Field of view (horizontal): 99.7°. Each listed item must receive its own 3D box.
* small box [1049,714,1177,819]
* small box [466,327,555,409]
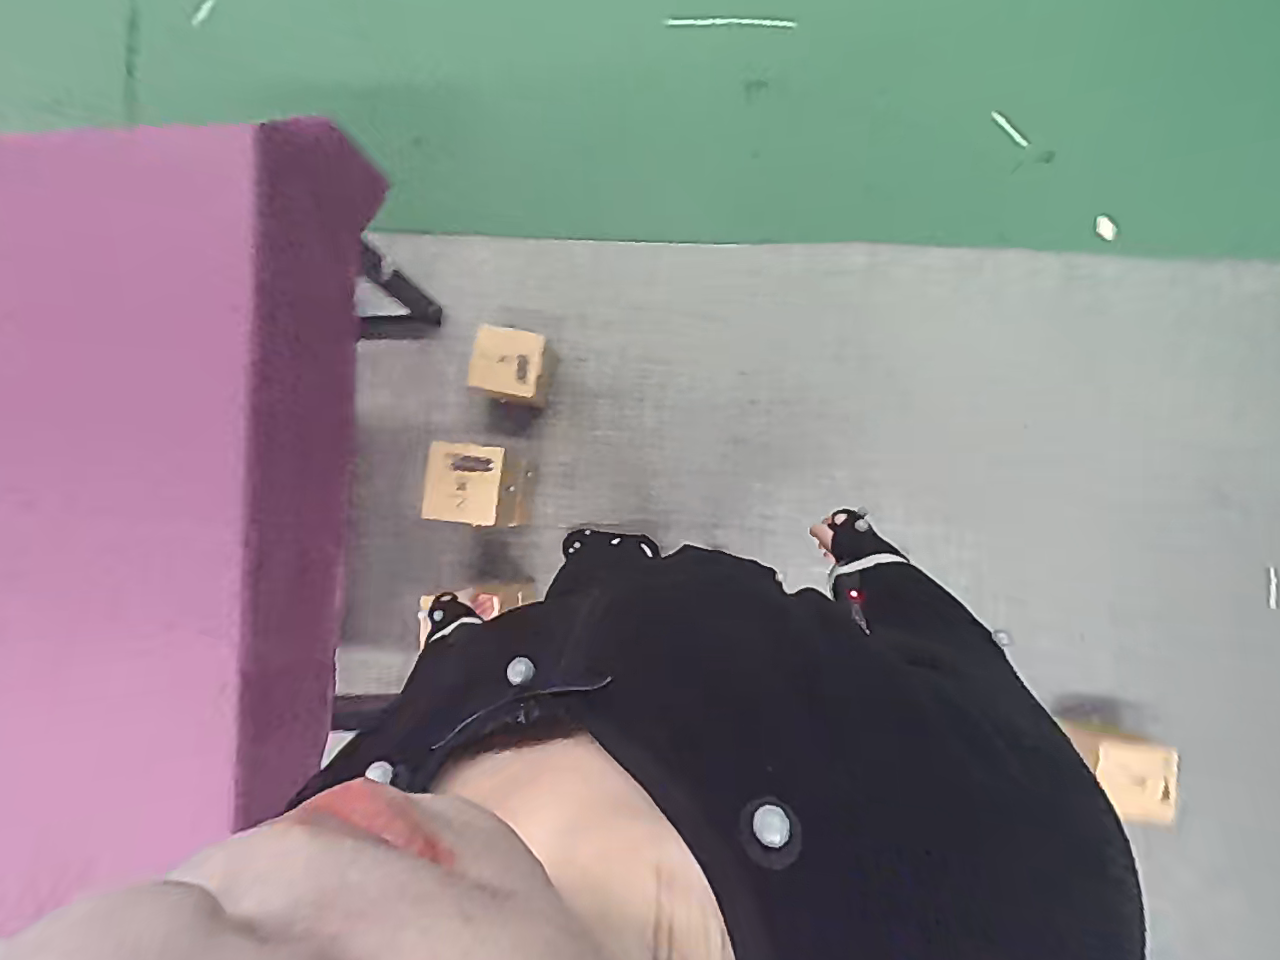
[{"bbox_3d":[1.140,0.688,1.317,0.179,0.176,0.168,5,87,4],"label":"small box"},{"bbox_3d":[-0.340,-0.294,1.456,0.179,0.176,0.168,11,87,4],"label":"small box"}]
